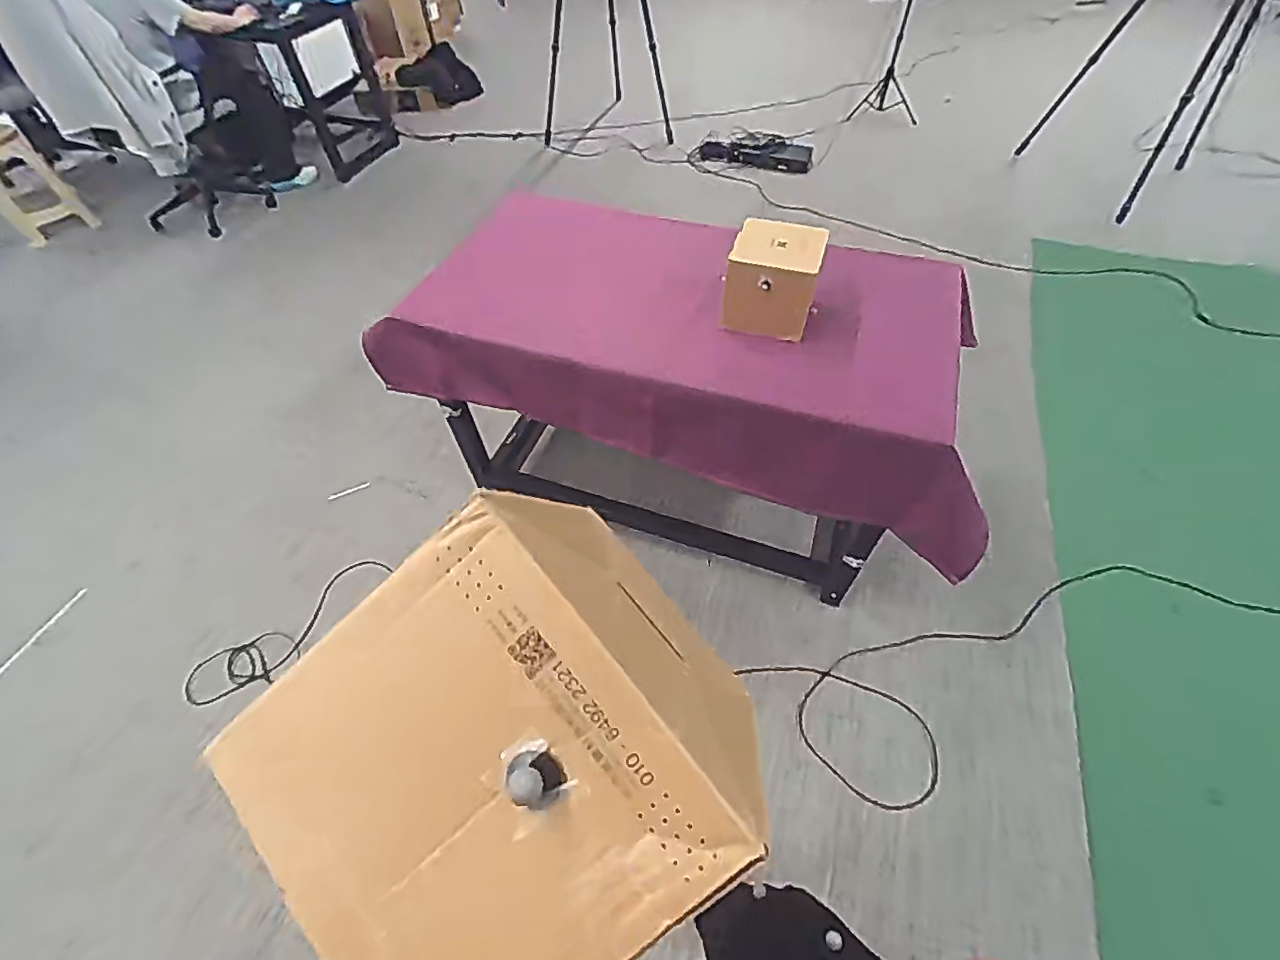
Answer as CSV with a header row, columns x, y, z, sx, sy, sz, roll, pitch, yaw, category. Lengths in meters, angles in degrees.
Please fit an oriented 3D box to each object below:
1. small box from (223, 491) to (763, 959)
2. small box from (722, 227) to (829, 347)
x,y,z,sx,sy,sz,roll,pitch,yaw,category
-0.051,0.122,0.291,0.176,0.179,0.168,-43,79,4,small box
0.278,-0.403,1.136,0.179,0.176,0.168,15,55,14,small box
